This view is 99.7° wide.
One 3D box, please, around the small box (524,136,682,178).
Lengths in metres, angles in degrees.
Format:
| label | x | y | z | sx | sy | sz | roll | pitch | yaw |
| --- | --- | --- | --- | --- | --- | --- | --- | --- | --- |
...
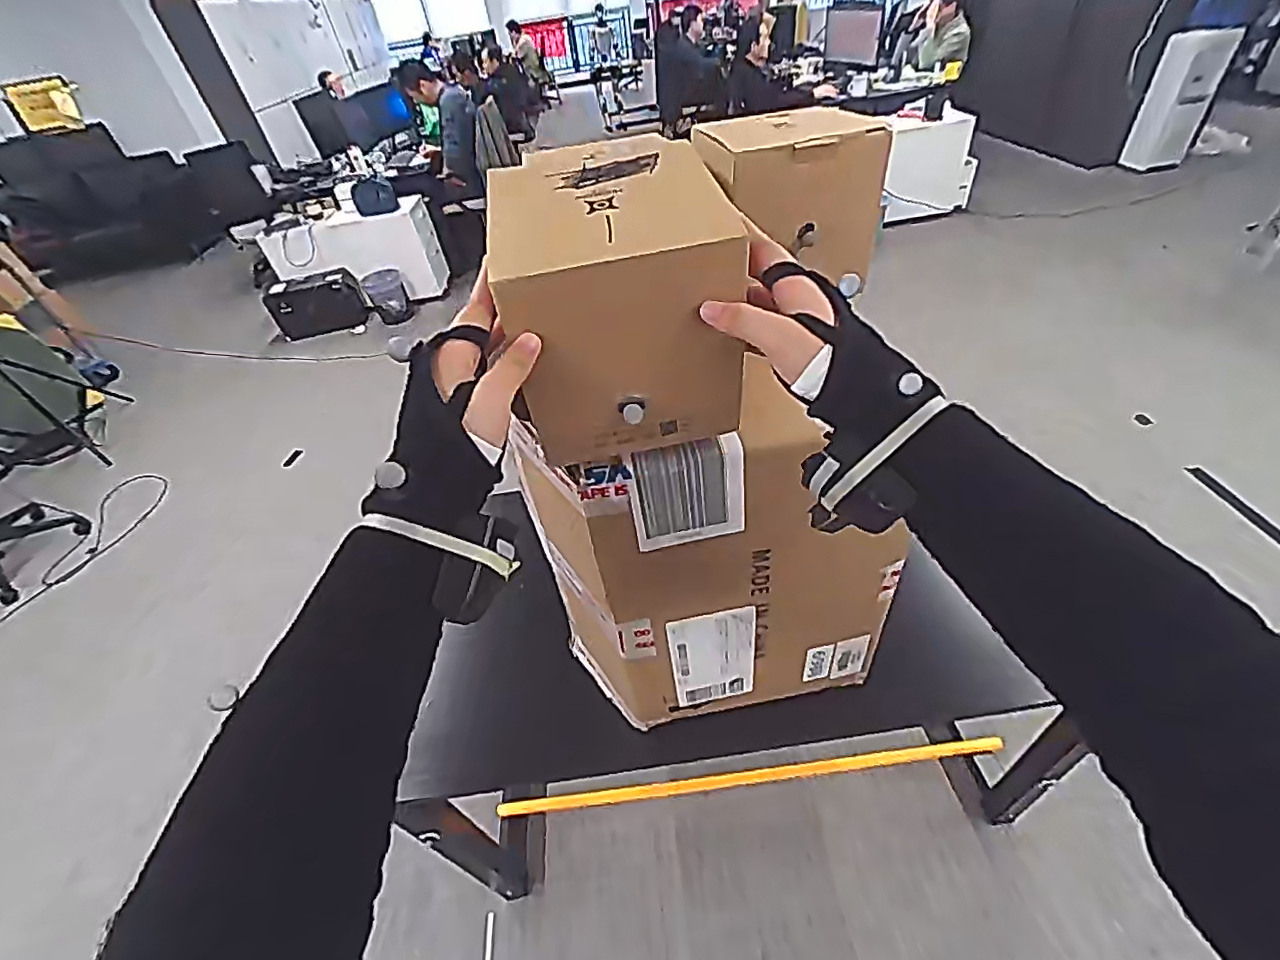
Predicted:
| label | x | y | z | sx | sy | sz | roll | pitch | yaw |
| --- | --- | --- | --- | --- | --- | --- | --- | --- | --- |
| small box | -0.037 | -0.286 | 0.637 | 0.168 | 0.176 | 0.179 | -12 | 41 | -4 |

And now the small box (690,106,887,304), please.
| label | x | y | z | sx | sy | sz | roll | pitch | yaw |
| --- | --- | --- | --- | --- | --- | --- | --- | --- | --- |
| small box | 0.160 | -0.320 | 0.641 | 0.168 | 0.176 | 0.179 | -10 | 42 | -4 |

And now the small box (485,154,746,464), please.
| label | x | y | z | sx | sy | sz | roll | pitch | yaw |
| --- | --- | --- | --- | --- | --- | --- | --- | --- | --- |
| small box | -0.020 | -0.140 | 0.447 | 0.168 | 0.176 | 0.179 | -11 | 48 | -2 |
